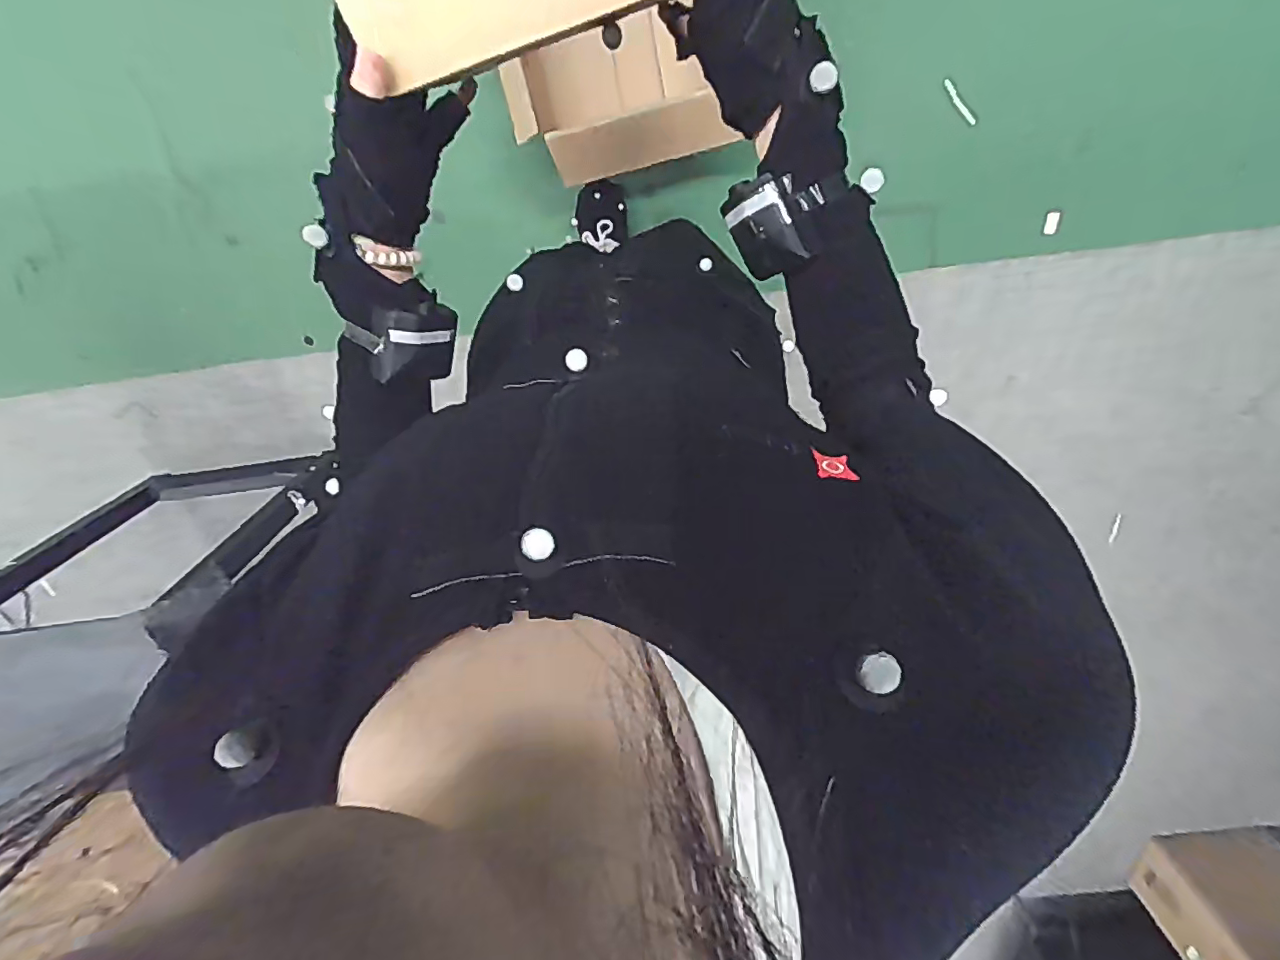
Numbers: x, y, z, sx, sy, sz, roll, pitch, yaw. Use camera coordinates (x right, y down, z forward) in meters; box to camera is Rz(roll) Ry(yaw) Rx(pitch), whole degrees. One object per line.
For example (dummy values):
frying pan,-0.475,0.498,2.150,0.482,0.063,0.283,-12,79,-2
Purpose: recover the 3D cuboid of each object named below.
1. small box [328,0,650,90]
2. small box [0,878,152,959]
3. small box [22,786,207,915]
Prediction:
small box,-0.087,-0.347,0.305,0.179,0.176,0.168,-10,129,12
small box,-1.027,0.827,0.938,0.179,0.176,0.168,-10,119,4
small box,-1.017,0.735,1.074,0.179,0.176,0.168,-8,118,4
